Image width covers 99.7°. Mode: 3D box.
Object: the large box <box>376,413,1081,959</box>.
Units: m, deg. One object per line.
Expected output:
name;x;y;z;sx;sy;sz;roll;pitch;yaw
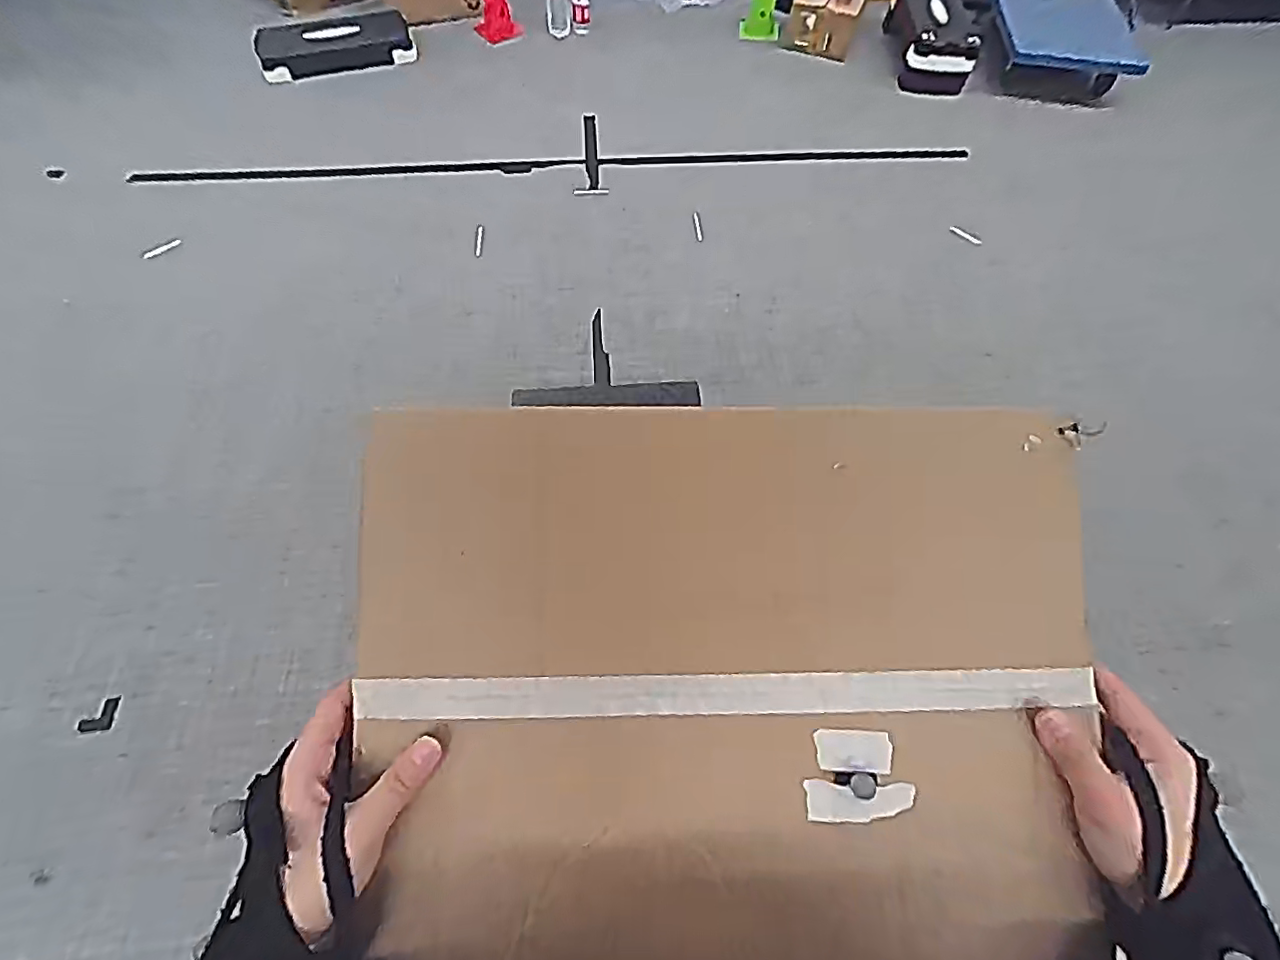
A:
large box;0.044;0.128;0.459;0.408;0.320;0.320;-1;86;-3
